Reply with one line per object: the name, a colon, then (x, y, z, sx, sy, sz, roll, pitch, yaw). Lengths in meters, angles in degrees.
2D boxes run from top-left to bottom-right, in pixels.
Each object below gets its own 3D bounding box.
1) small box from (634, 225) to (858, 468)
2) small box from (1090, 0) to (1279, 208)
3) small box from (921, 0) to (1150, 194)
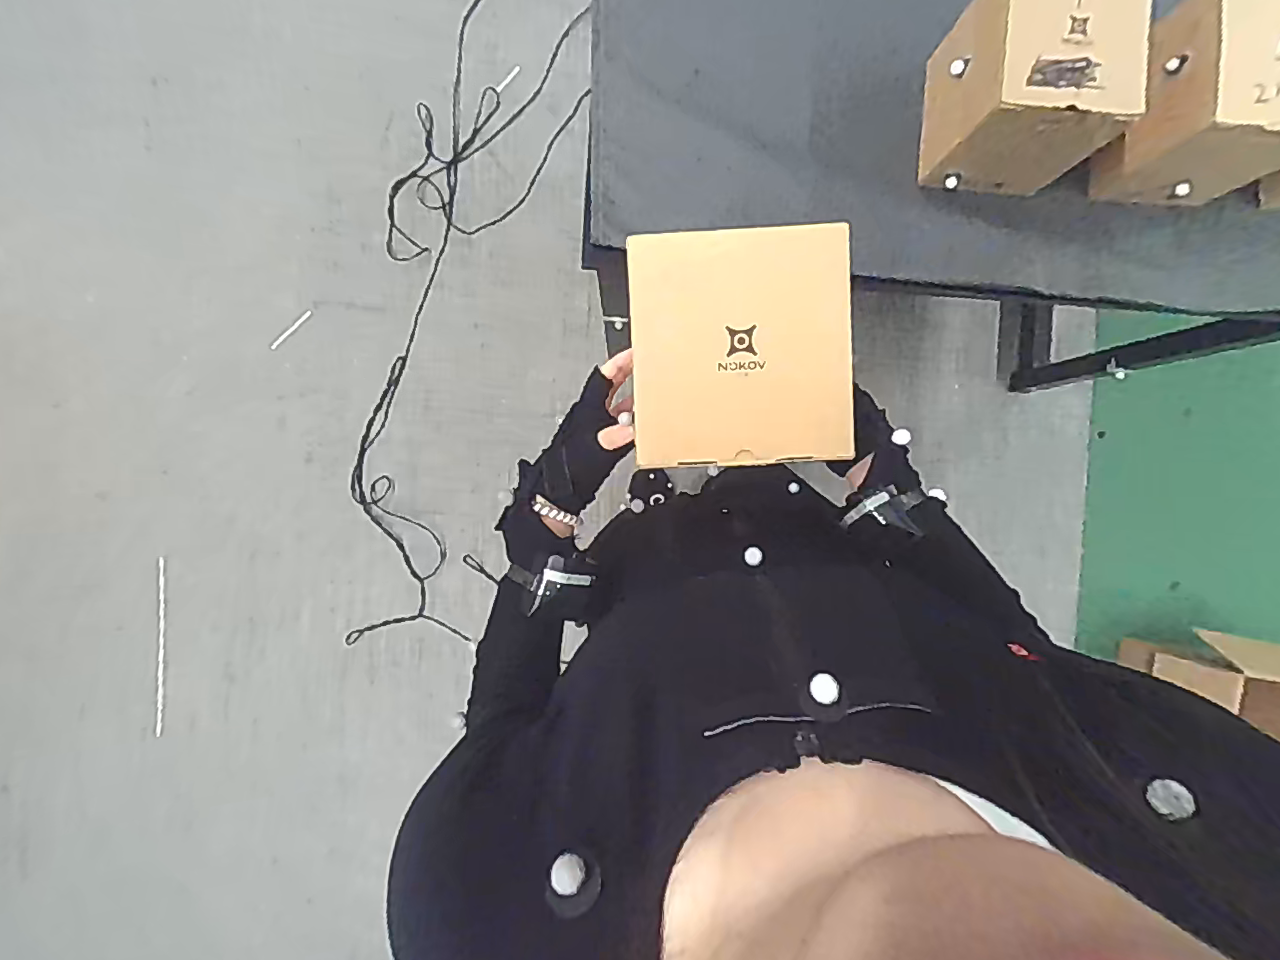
small box: (0.079, -0.101, 0.481, 0.168, 0.176, 0.179, -3, 93, 1)
small box: (0.720, -0.478, 0.685, 0.168, 0.176, 0.179, 2, 90, -2)
small box: (0.478, -0.489, 0.678, 0.168, 0.176, 0.179, 4, 89, -2)
